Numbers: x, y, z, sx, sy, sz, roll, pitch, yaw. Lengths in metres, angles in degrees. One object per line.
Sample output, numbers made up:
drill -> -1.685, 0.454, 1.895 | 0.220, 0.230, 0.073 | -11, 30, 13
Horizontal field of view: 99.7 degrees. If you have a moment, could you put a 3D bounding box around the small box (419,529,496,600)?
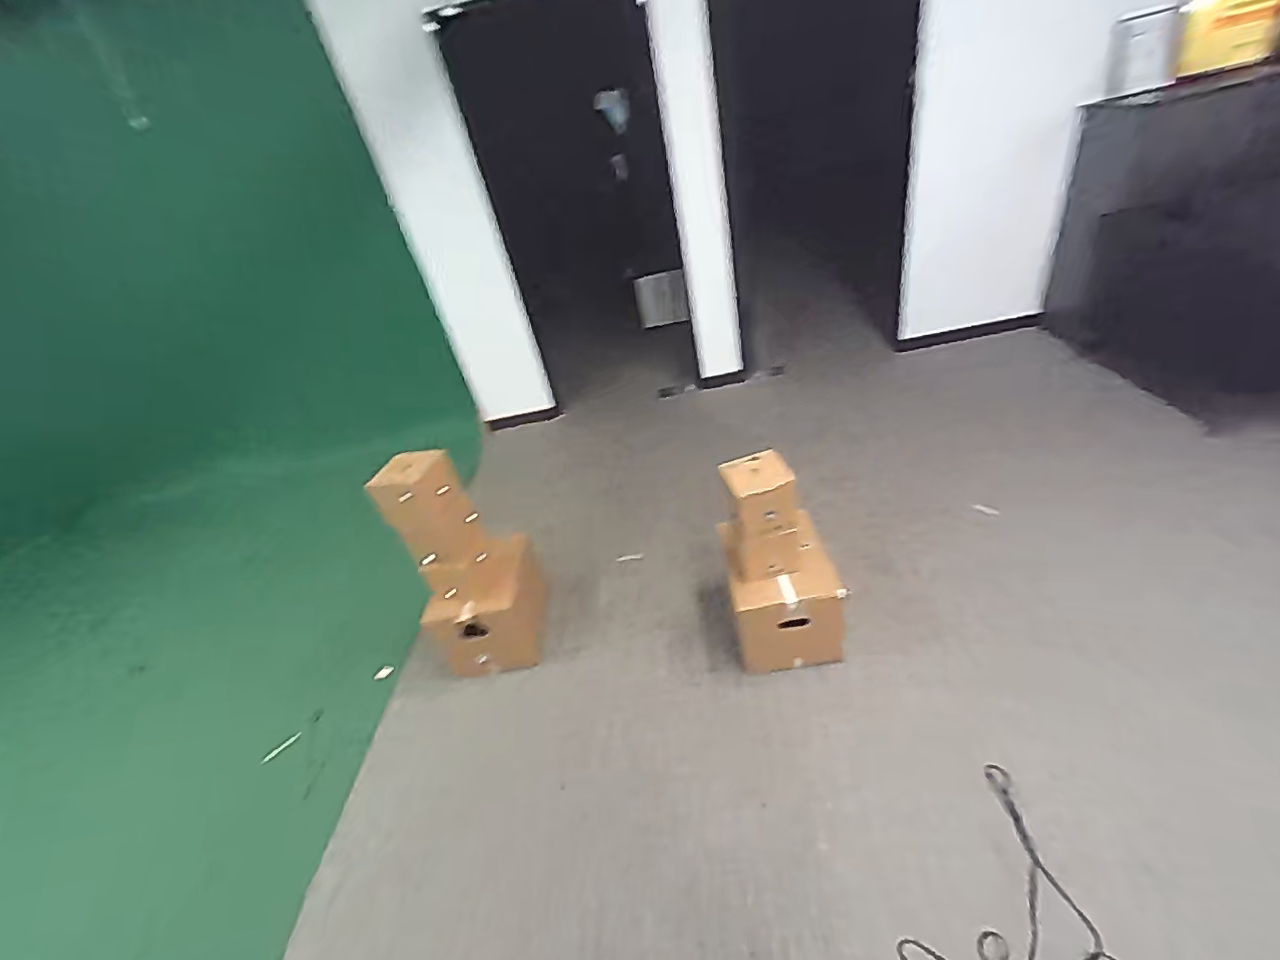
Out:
small box -> -0.608, 0.287, 1.833 | 0.168, 0.176, 0.179 | -5, 36, 14

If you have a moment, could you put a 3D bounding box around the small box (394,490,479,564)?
small box -> -0.647, 0.152, 1.749 | 0.168, 0.176, 0.179 | -4, 37, 17

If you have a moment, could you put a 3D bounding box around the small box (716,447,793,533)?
small box -> 0.333, 0.035, 1.564 | 0.168, 0.176, 0.179 | -17, 35, -2

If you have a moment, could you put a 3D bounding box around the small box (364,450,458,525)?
small box -> -0.690, 0.025, 1.654 | 0.179, 0.176, 0.168 | -3, 36, 17

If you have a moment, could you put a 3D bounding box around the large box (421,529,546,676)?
large box -> -0.554, 0.450, 2.012 | 0.320, 0.320, 0.408 | -11, 34, 4
